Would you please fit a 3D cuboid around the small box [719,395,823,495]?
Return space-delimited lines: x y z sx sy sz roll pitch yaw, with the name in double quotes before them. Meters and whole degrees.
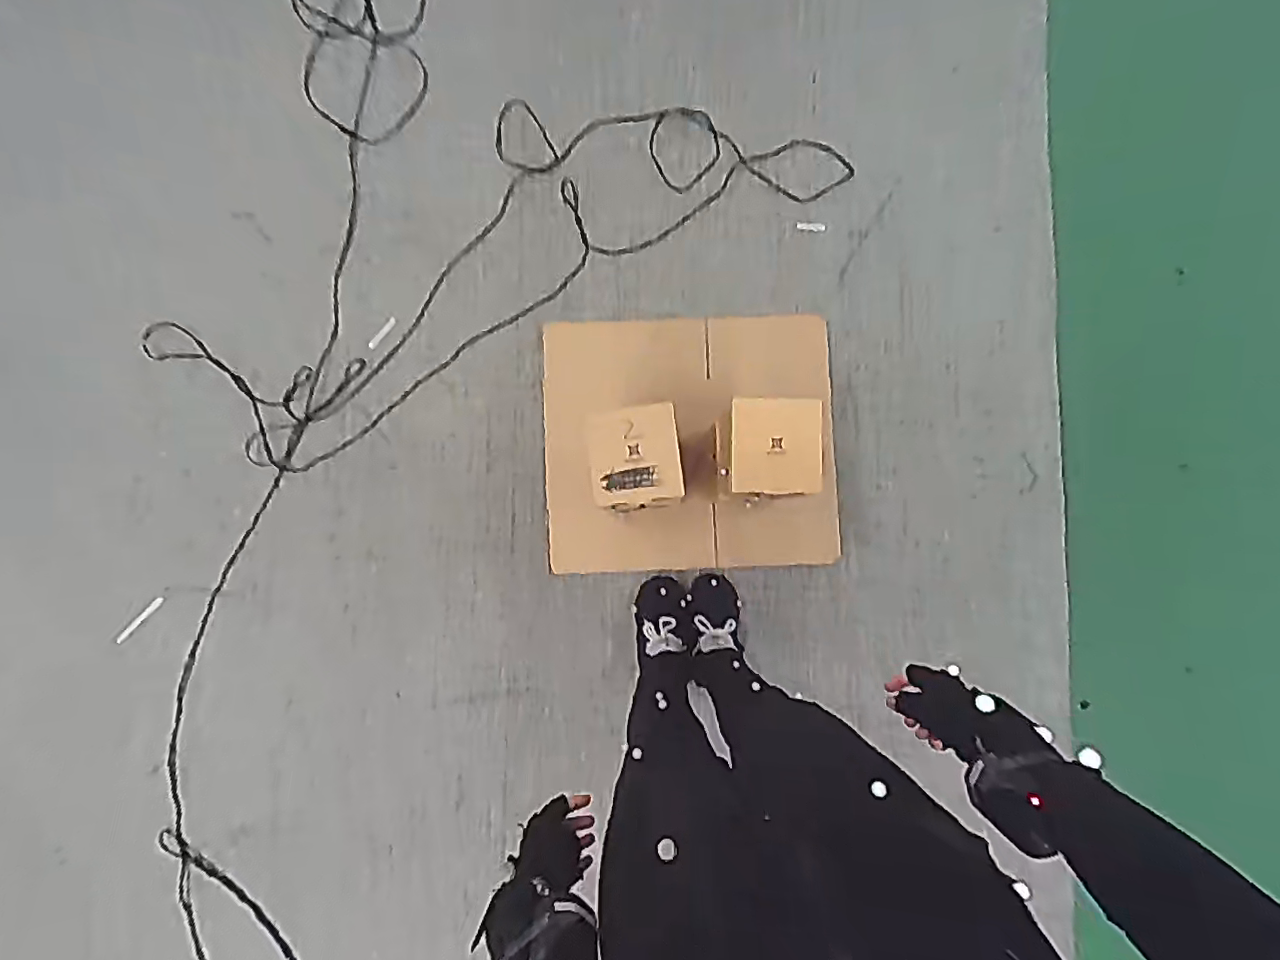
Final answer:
"small box" 0.248 -0.062 1.056 0.168 0.176 0.179 1 88 1

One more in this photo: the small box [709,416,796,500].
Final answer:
"small box" 0.248 -0.046 1.218 0.168 0.176 0.179 -2 87 2

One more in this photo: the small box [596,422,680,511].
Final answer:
"small box" -0.002 -0.026 1.215 0.168 0.176 0.179 -7 87 0
